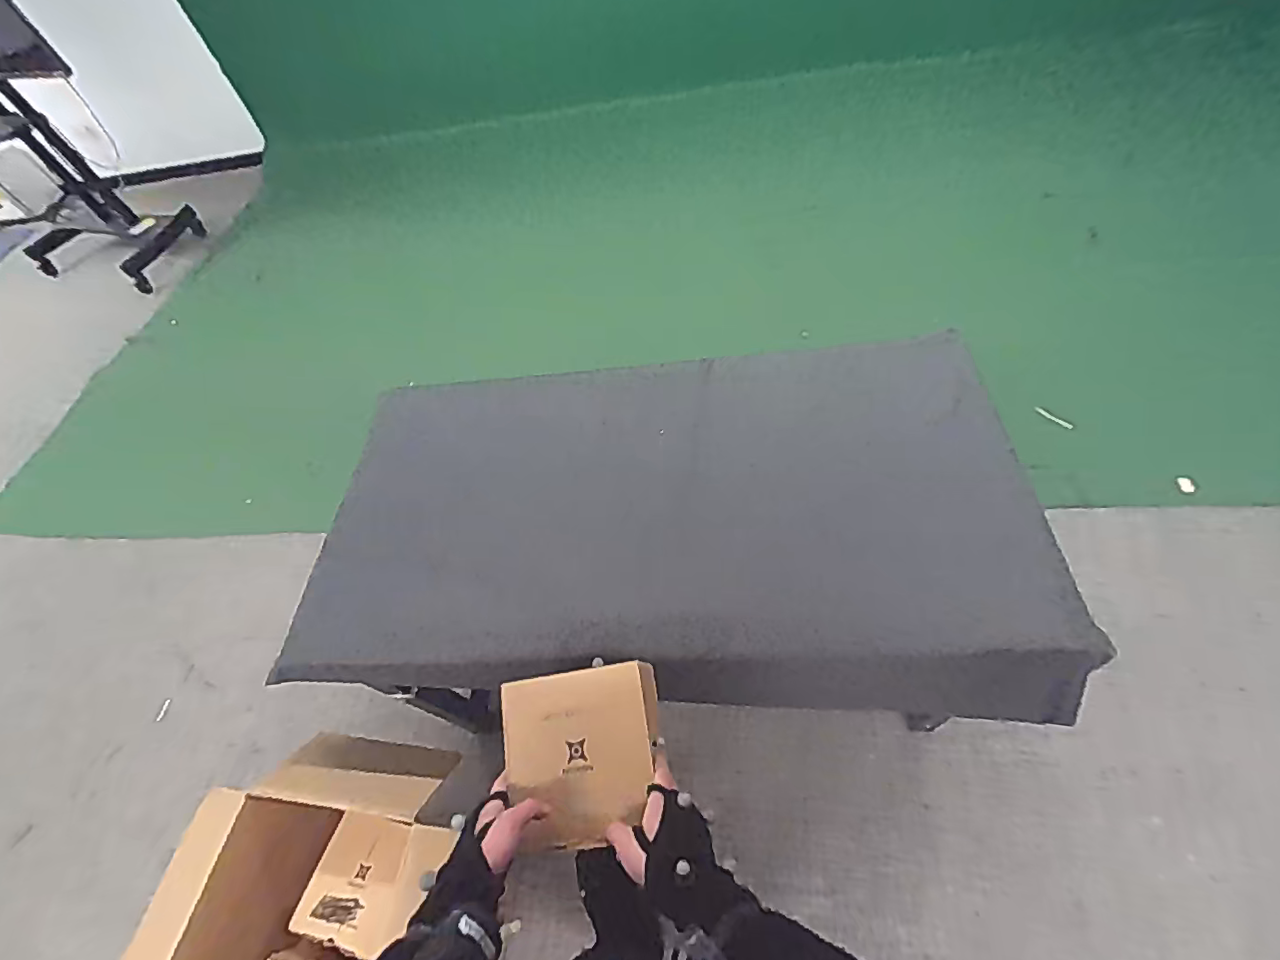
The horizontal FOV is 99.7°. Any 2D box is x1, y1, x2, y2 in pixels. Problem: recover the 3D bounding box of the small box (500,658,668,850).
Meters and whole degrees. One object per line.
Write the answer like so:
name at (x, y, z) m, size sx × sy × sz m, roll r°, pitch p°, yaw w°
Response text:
small box at (-0.062, 0.327, 0.675) m, size 0.168 × 0.176 × 0.179 m, roll -11°, pitch 68°, yaw 3°
